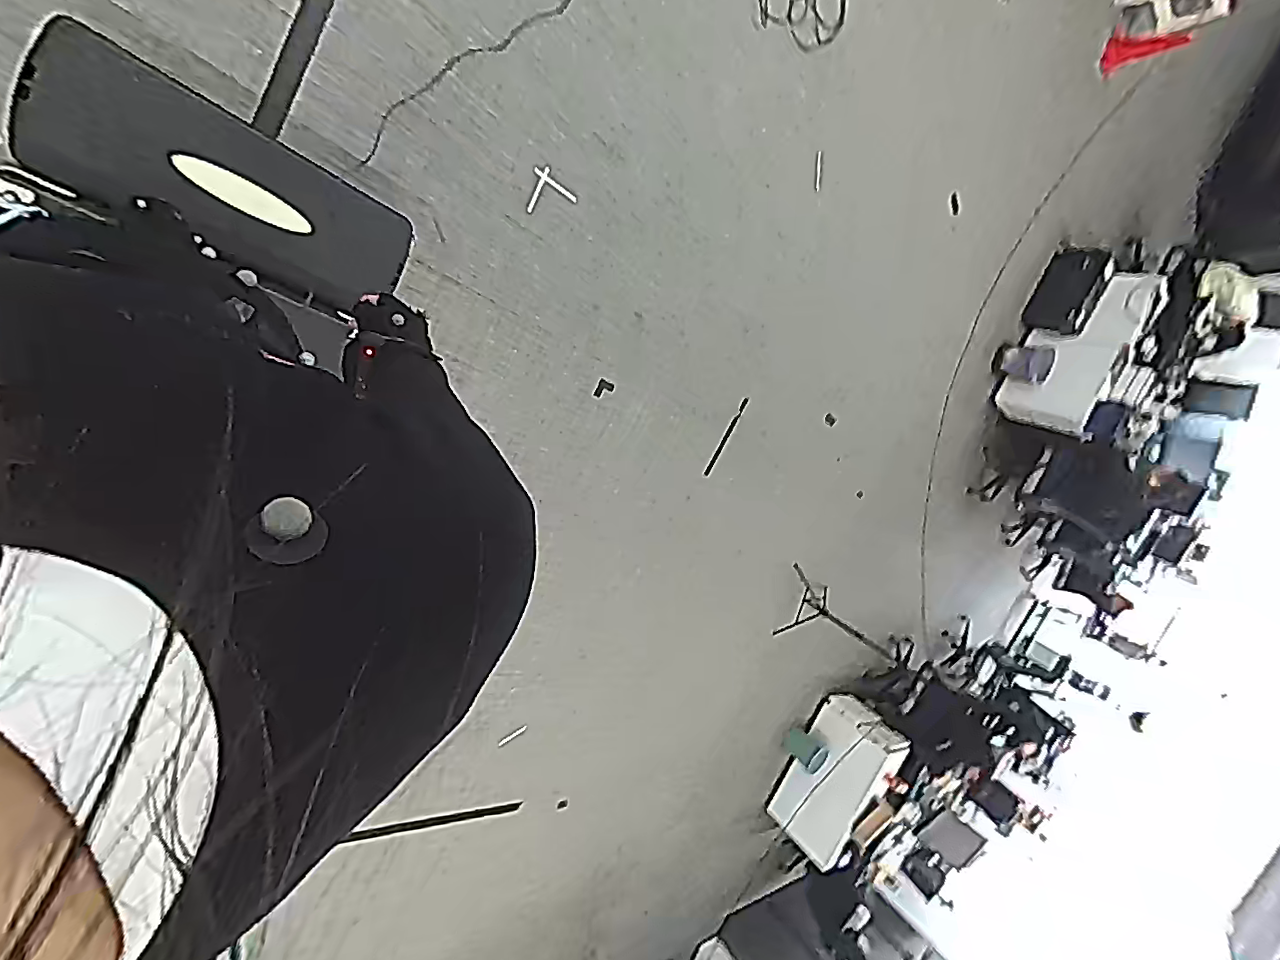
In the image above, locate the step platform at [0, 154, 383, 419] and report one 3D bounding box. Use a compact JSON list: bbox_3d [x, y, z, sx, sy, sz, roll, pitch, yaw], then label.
[{"bbox_3d":[-0.943,-0.372,1.176,0.684,0.204,0.286,20,98,-42],"label":"step platform"}]
